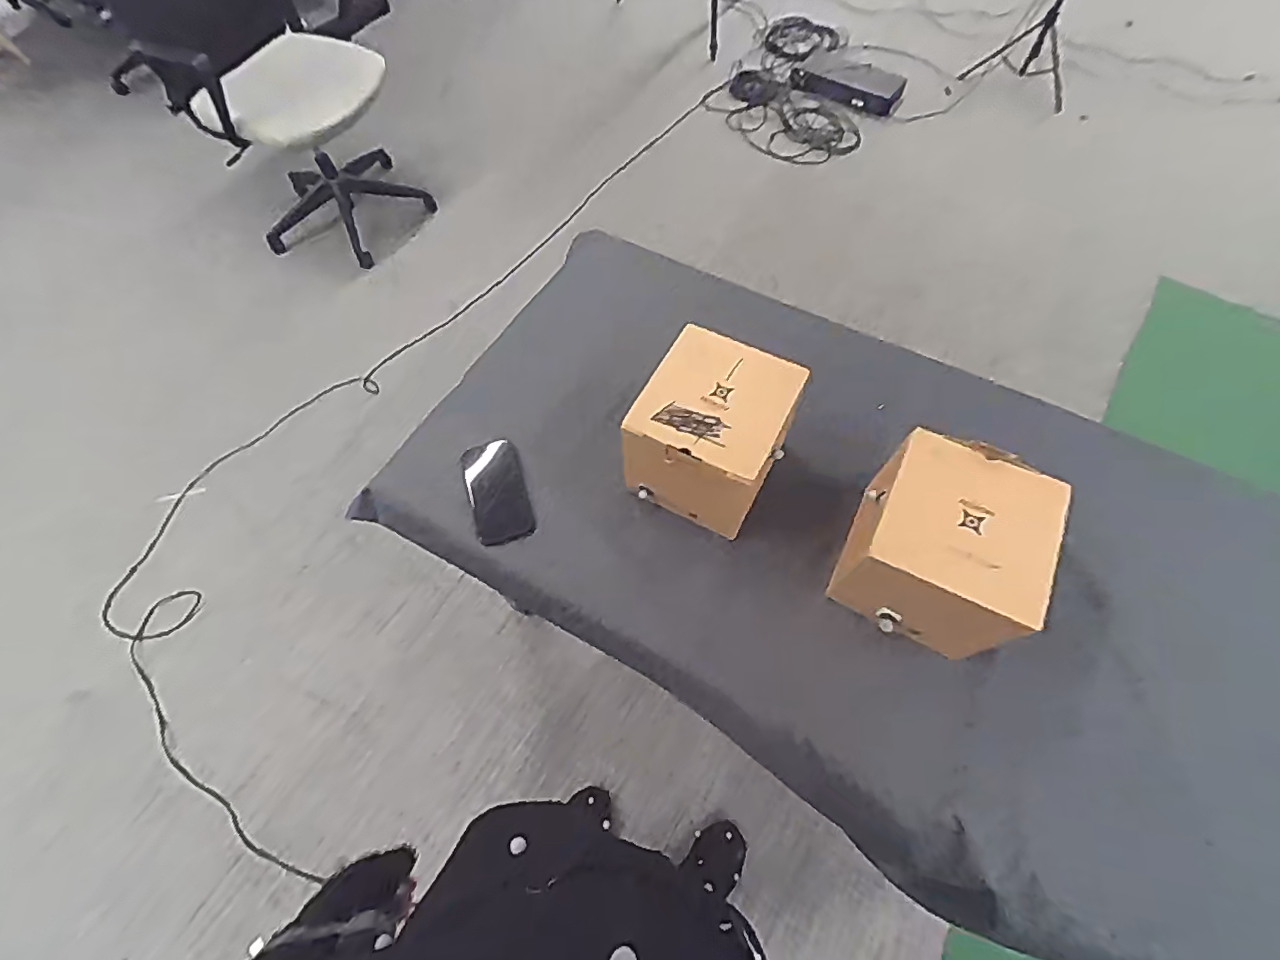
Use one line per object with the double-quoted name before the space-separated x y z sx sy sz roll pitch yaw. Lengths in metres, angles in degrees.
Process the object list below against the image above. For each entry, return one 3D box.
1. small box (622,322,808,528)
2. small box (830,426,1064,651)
"small box" 0.093 -0.064 0.706 0.168 0.176 0.179 26 66 13
"small box" 0.344 0.075 0.633 0.168 0.176 0.179 25 67 14
